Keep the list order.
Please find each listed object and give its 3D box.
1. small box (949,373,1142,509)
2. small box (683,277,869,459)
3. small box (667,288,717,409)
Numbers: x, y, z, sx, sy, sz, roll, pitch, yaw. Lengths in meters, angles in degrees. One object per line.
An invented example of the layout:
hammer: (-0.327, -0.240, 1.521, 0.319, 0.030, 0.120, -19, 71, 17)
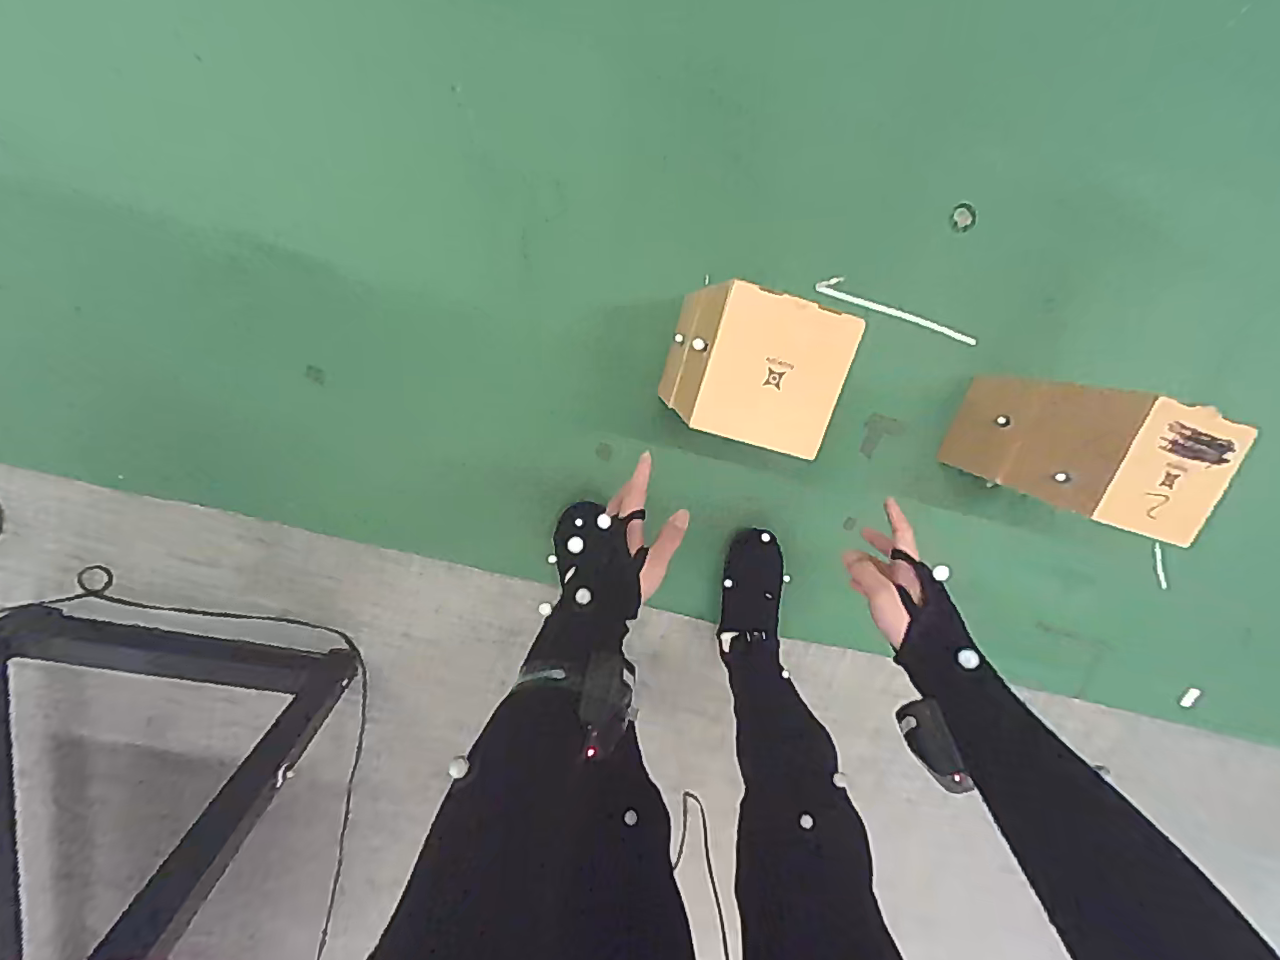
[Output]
small box: (0.679, -0.076, 0.931, 0.168, 0.176, 0.179, 16, 105, -9)
small box: (0.160, -0.146, 0.707, 0.168, 0.176, 0.179, 14, 104, -7)
small box: (0.147, -0.191, 0.861, 0.168, 0.176, 0.179, 14, 106, -7)
